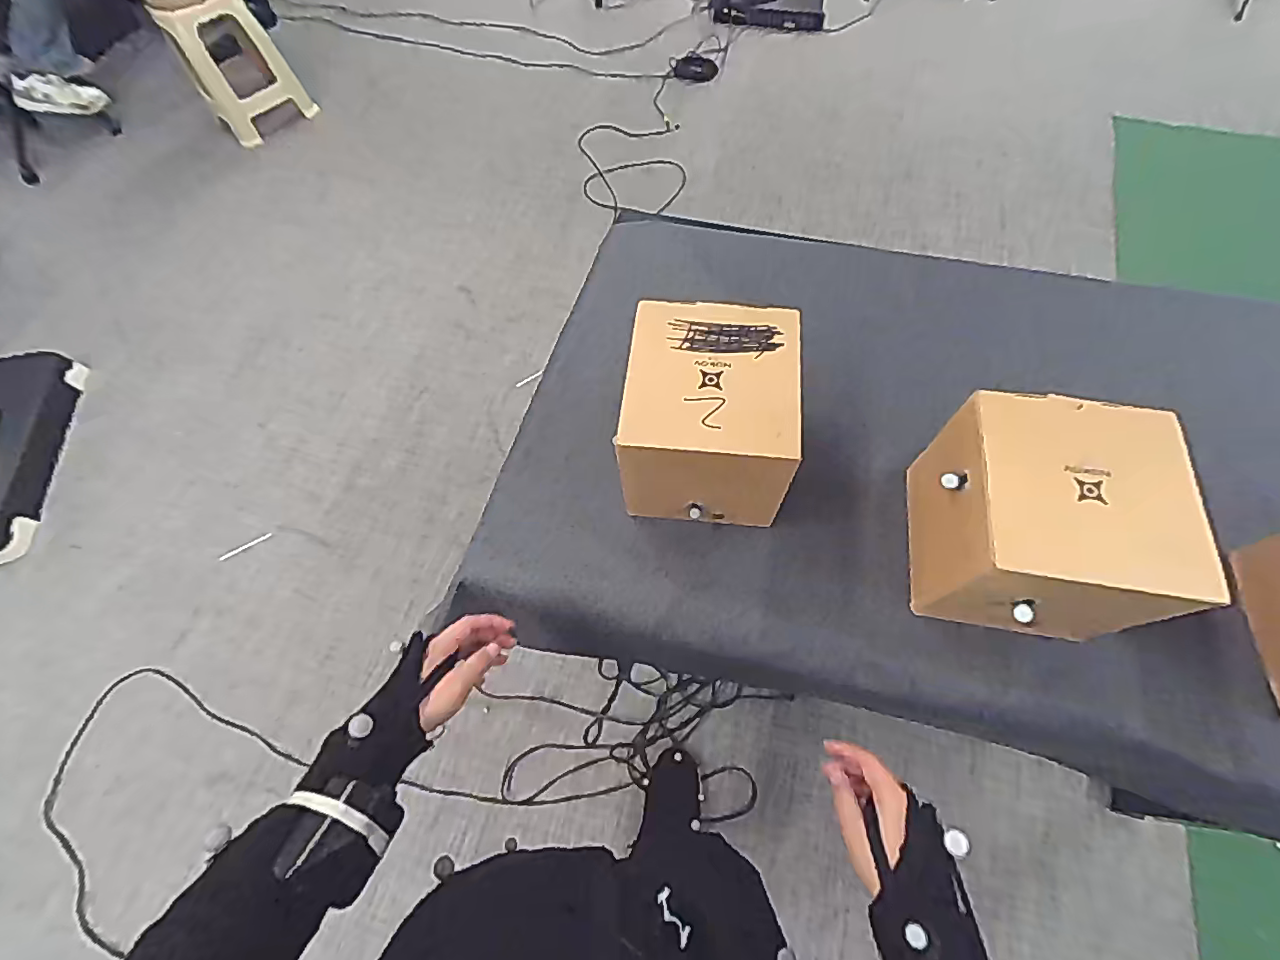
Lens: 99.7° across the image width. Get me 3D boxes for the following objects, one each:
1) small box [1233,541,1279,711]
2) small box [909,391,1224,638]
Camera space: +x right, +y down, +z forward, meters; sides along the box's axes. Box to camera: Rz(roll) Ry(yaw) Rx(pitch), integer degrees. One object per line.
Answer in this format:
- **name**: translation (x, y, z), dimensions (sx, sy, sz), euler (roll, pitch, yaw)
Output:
- **small box**: translation (0.682, 0.130, 0.458), dimensions (0.168, 0.176, 0.179), euler (6, 64, 8)
- **small box**: translation (0.375, 0.042, 0.519), dimensions (0.168, 0.176, 0.179), euler (8, 64, 7)
